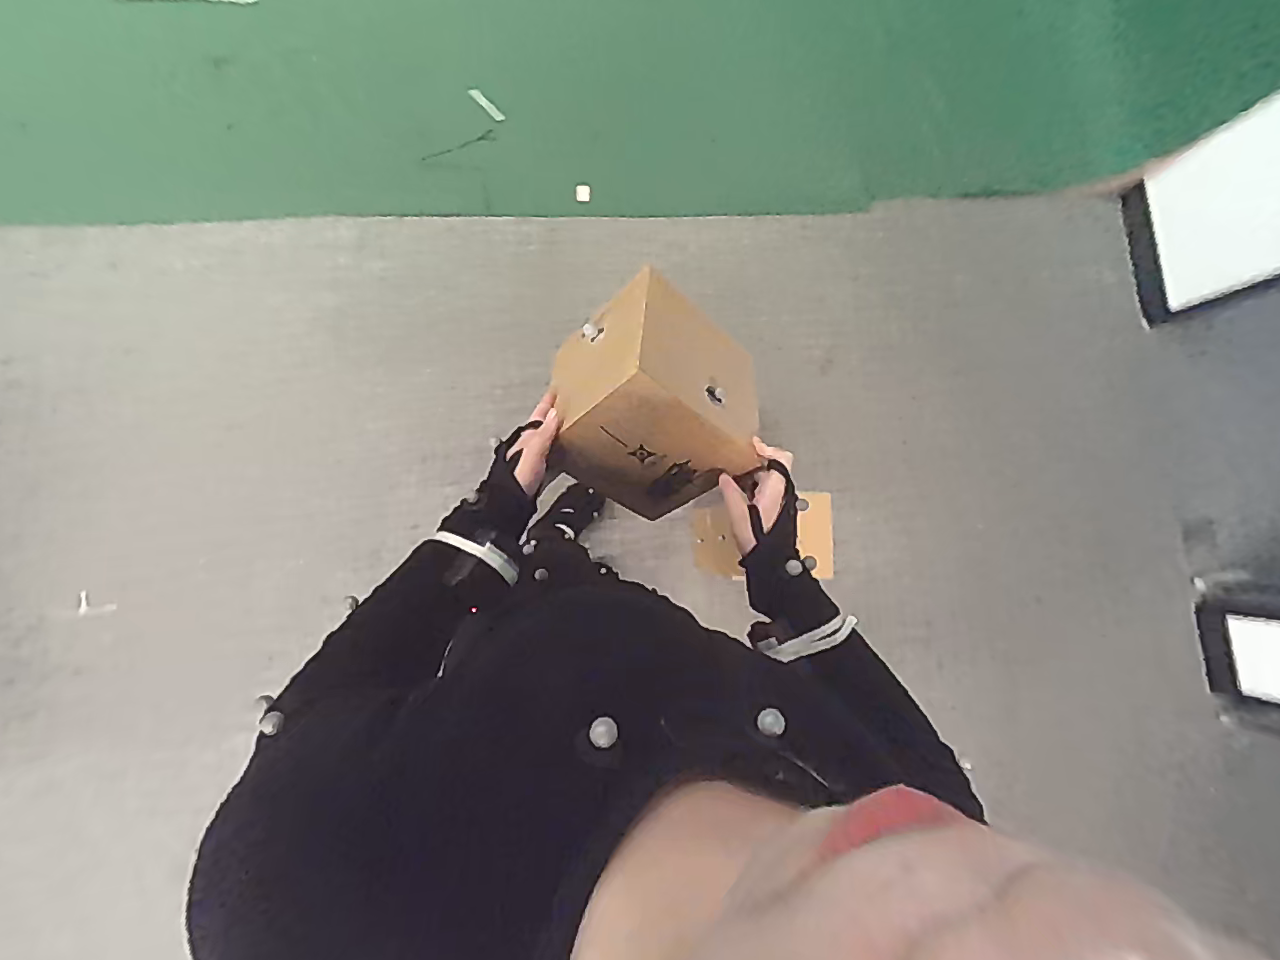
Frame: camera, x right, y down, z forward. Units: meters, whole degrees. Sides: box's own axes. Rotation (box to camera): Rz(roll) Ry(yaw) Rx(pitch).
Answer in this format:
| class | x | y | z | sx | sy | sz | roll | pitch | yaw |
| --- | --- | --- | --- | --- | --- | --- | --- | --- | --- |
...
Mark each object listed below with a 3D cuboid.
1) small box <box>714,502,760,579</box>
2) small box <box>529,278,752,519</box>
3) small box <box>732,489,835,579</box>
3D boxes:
| class | x | y | z | sx | sy | sz | roll | pitch | yaw |
| --- | --- | --- | --- | --- | --- | --- | --- | --- | --- |
| small box | 0.280 | 0.145 | 1.310 | 0.168 | 0.176 | 0.179 | -1 | 85 | -6 |
| small box | 0.005 | -0.087 | 0.609 | 0.179 | 0.168 | 0.176 | 31 | 45 | -30 |
| small box | 0.298 | 0.116 | 1.150 | 0.168 | 0.176 | 0.179 | 2 | 85 | -7 |
